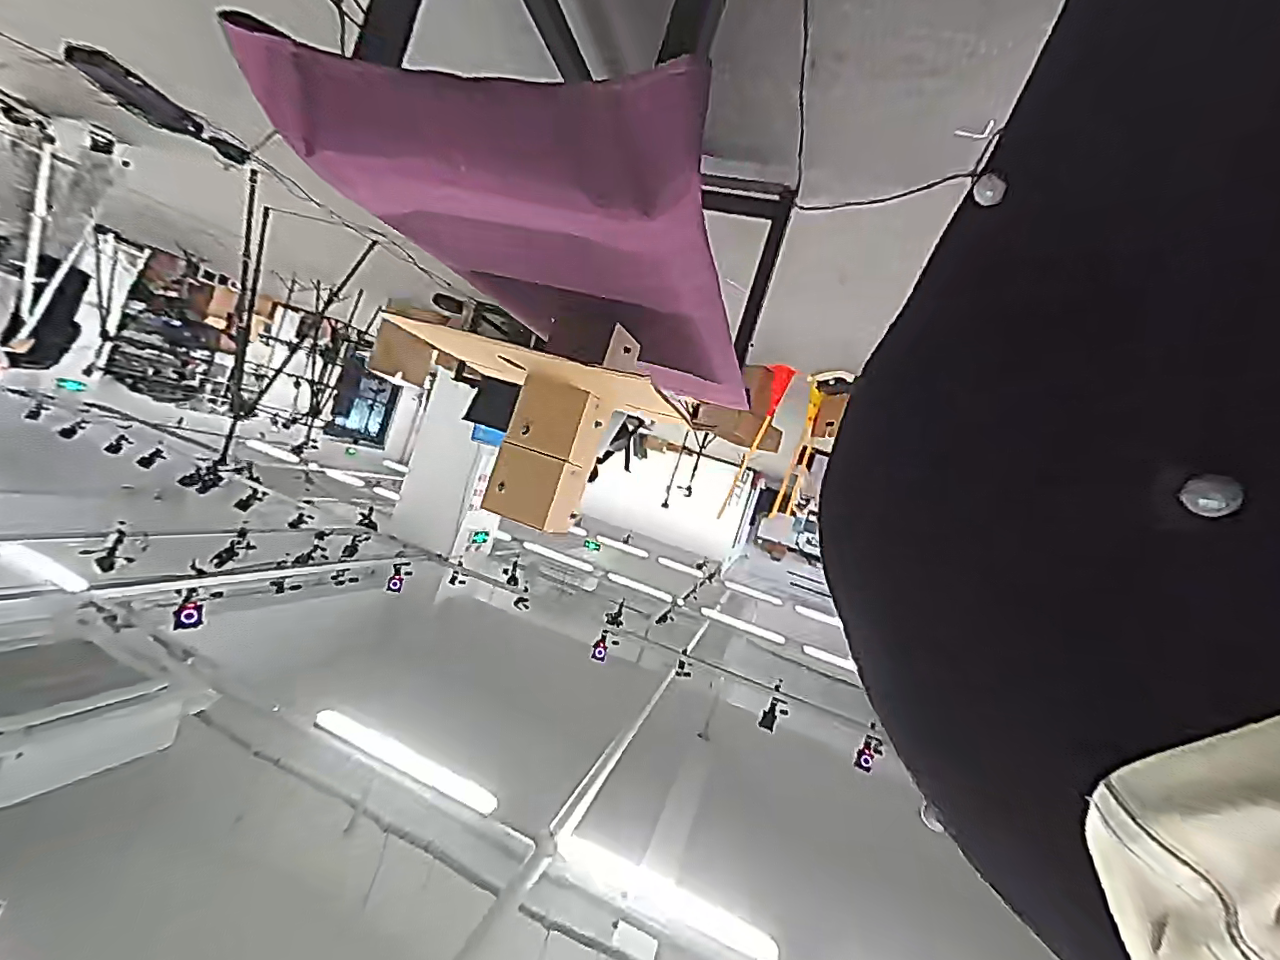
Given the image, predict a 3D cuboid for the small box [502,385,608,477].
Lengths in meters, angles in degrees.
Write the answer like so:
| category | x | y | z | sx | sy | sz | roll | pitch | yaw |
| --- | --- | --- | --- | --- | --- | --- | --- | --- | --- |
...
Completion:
| category | x | y | z | sx | sy | sz | roll | pitch | yaw |
| --- | --- | --- | --- | --- | --- | --- | --- | --- | --- |
| small box | -0.200 | -0.120 | 1.315 | 0.179 | 0.176 | 0.168 | 17 | 178 | 16 |
